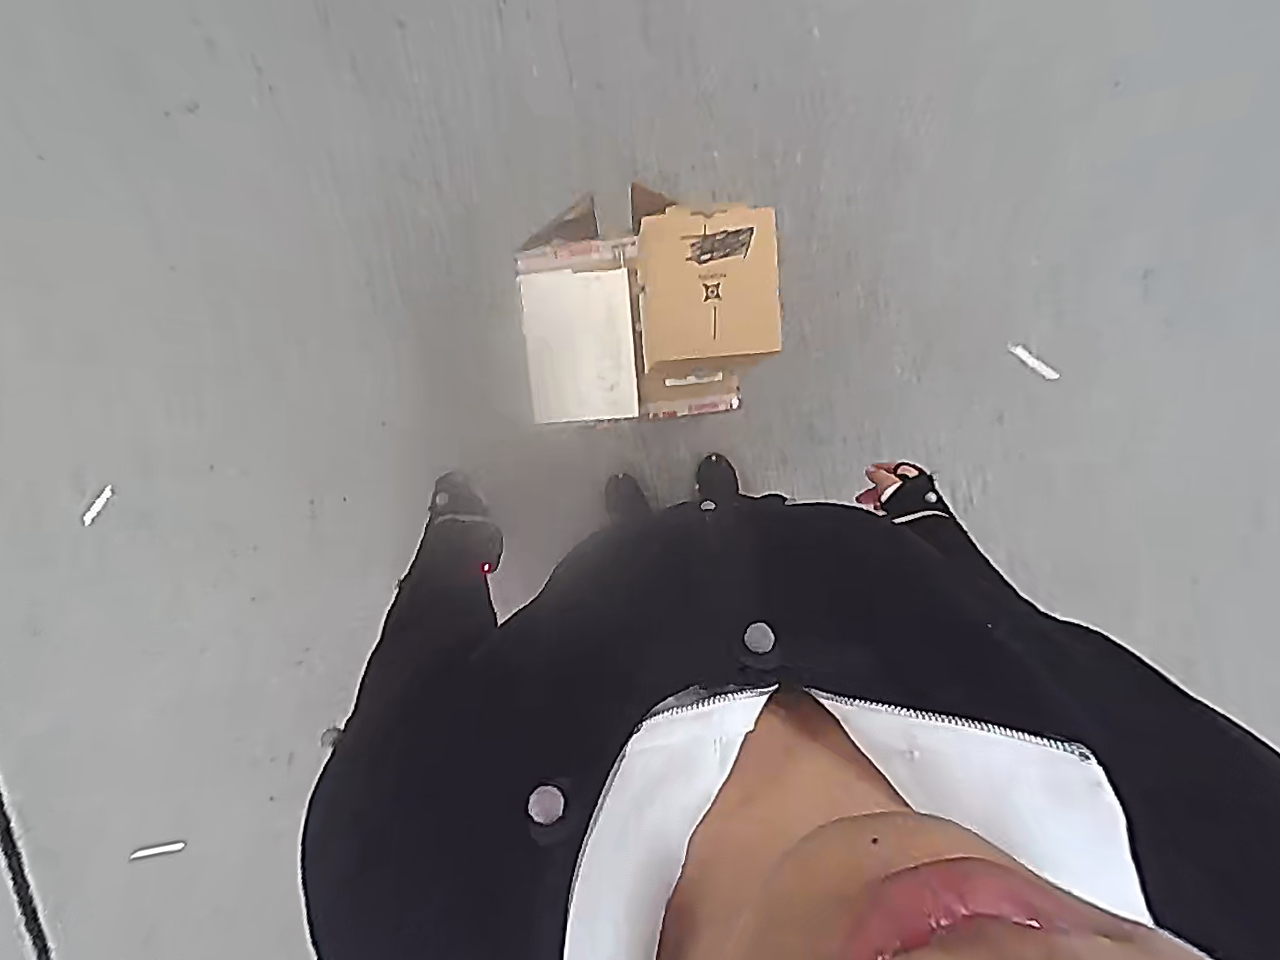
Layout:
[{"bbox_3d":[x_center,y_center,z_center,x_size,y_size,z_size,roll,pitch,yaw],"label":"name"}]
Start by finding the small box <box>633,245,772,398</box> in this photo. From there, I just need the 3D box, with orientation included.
[{"bbox_3d":[0.079,-0.213,0.765,0.168,0.176,0.179,-5,96,-2],"label":"small box"}]
